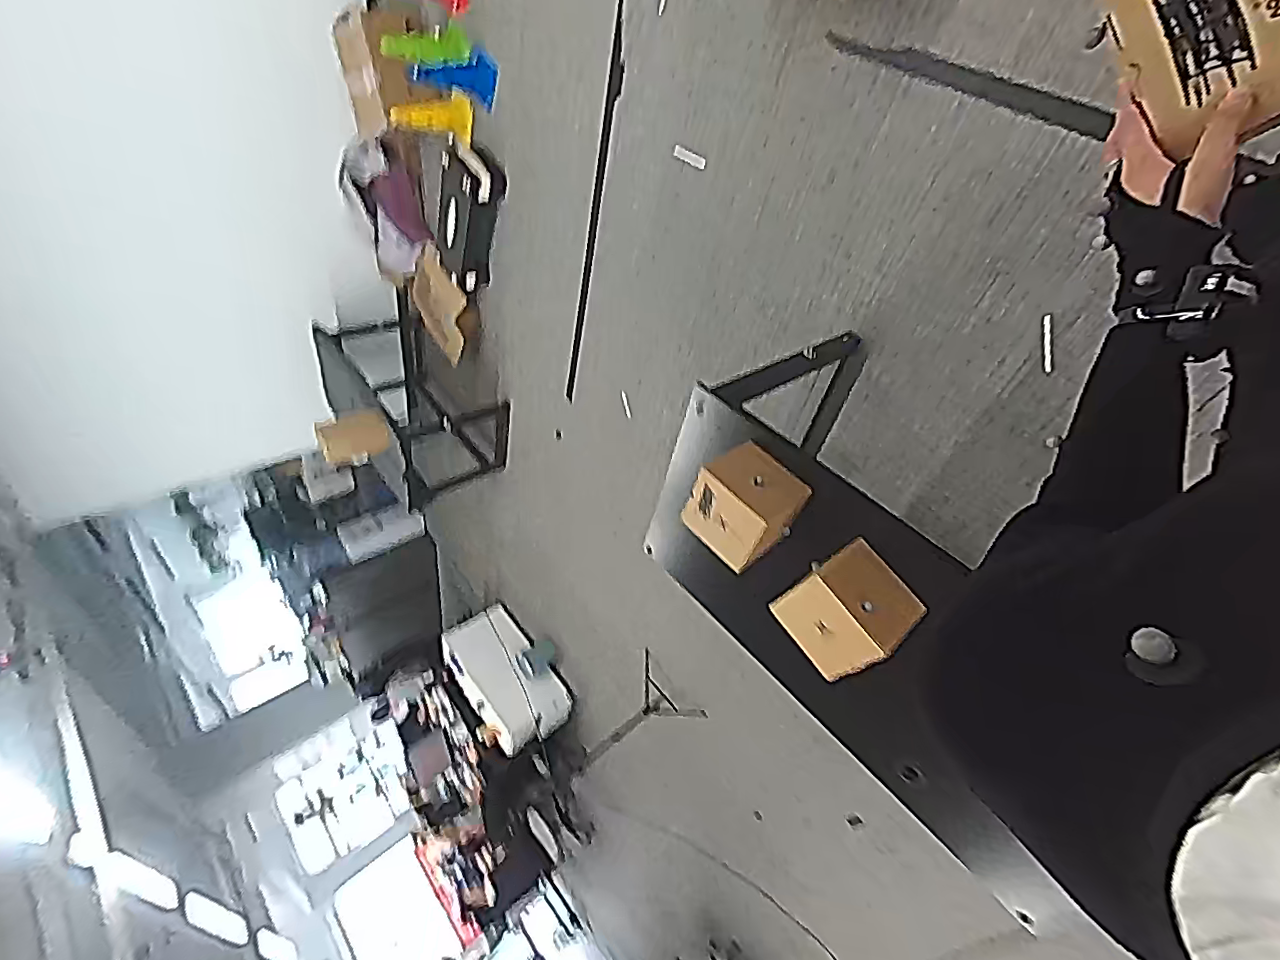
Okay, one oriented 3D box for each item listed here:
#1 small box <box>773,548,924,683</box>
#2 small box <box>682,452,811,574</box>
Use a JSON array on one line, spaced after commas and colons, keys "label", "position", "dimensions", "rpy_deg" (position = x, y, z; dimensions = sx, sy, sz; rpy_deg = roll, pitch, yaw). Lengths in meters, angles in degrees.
[{"label": "small box", "position": [0.403, 0.253, 1.049], "dimensions": [0.179, 0.176, 0.168], "rpy_deg": [51, 142, 16]}, {"label": "small box", "position": [0.224, 0.060, 1.145], "dimensions": [0.179, 0.176, 0.168], "rpy_deg": [42, 139, 24]}]
